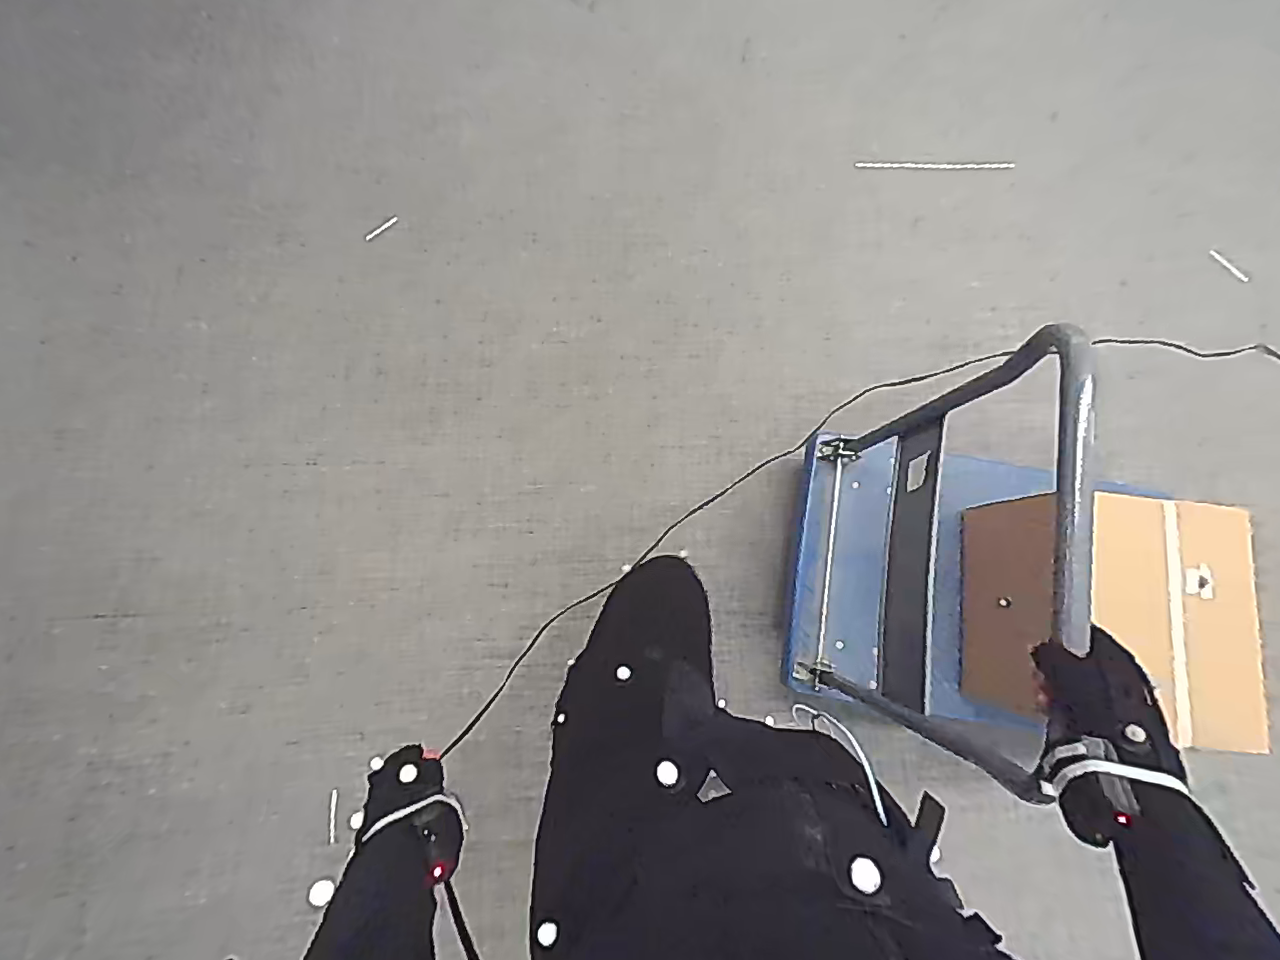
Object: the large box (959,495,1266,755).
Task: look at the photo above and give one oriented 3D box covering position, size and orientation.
[{"bbox_3d":[0.858,0.263,1.041,0.320,0.320,0.408,6,79,-3],"label":"large box"}]
